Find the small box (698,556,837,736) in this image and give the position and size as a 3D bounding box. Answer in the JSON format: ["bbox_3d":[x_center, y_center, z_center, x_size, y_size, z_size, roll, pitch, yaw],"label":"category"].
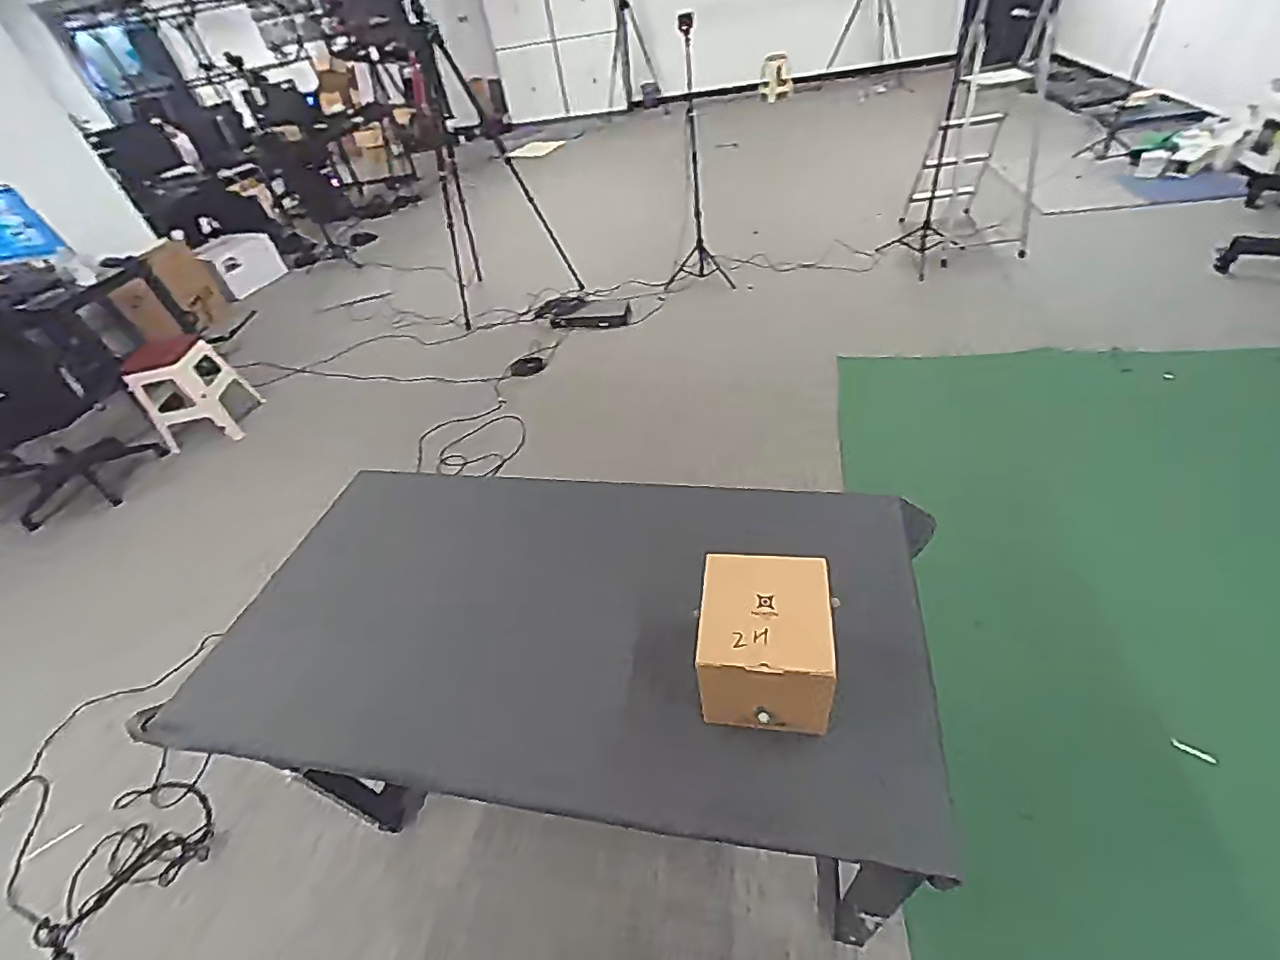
[{"bbox_3d":[0.178,0.229,0.759,0.168,0.176,0.179,0,43,14],"label":"small box"}]
